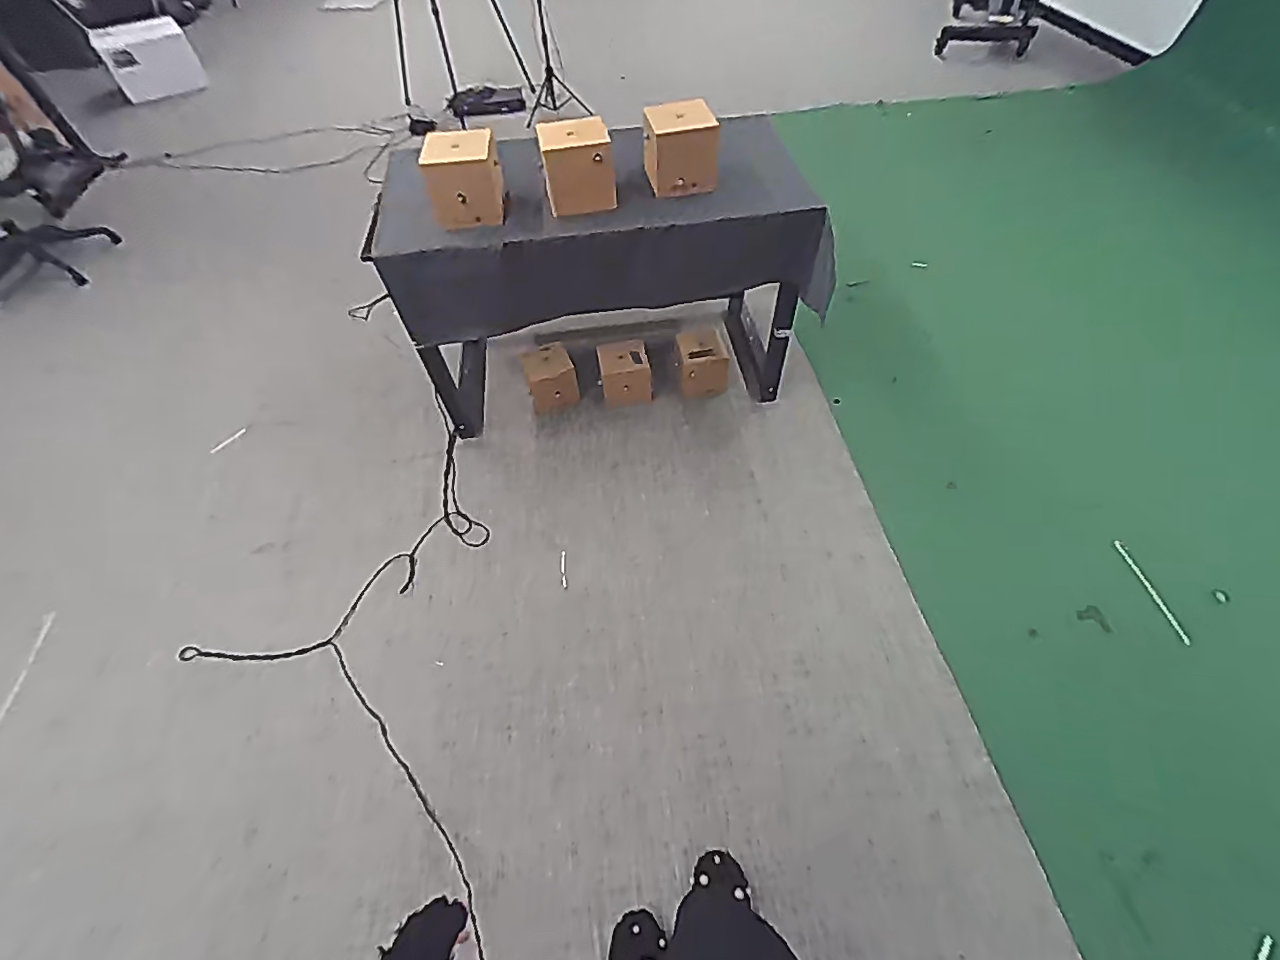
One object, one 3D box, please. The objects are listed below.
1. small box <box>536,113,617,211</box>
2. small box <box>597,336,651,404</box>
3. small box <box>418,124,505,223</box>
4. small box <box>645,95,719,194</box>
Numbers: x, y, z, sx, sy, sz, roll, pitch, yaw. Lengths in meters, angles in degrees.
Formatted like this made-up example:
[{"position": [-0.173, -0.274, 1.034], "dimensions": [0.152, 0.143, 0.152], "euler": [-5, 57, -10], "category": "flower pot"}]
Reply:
[{"position": [-0.165, -0.826, 1.412], "dimensions": [0.179, 0.176, 0.168], "euler": [-11, 54, -5], "category": "small box"}, {"position": [-0.056, -0.401, 1.995], "dimensions": [0.179, 0.176, 0.168], "euler": [-10, 54, -3], "category": "small box"}, {"position": [-0.450, -0.782, 1.391], "dimensions": [0.168, 0.176, 0.179], "euler": [-5, 54, -2], "category": "small box"}, {"position": [0.108, -0.895, 1.447], "dimensions": [0.168, 0.176, 0.179], "euler": [-10, 55, -3], "category": "small box"}]
